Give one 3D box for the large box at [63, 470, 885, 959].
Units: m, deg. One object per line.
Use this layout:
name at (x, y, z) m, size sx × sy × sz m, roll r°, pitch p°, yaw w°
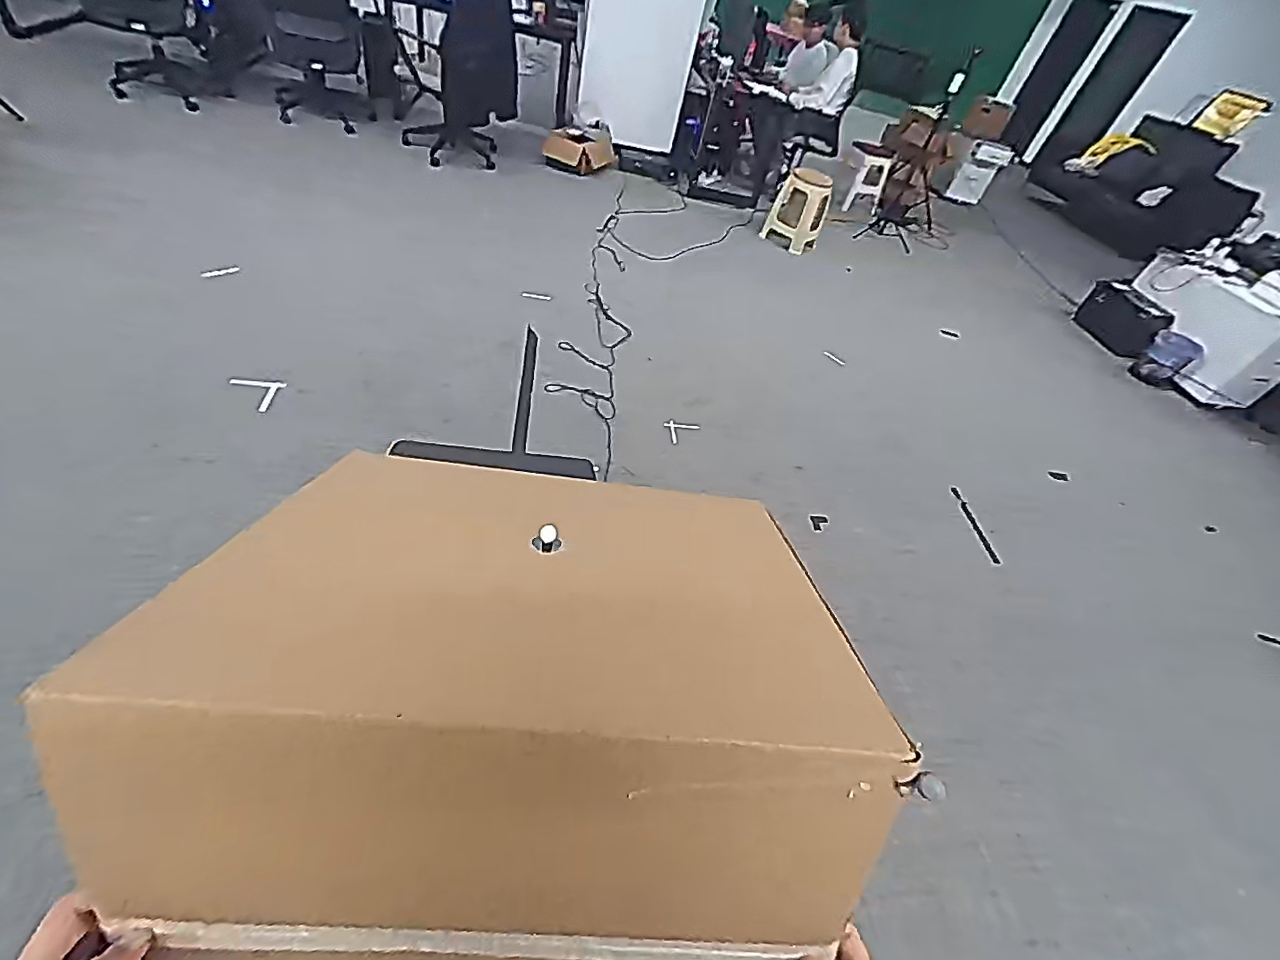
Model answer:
large box at (-0.095, 0.198, 0.454) m, size 0.408 × 0.320 × 0.320 m, roll 6°, pitch 23°, yaw -6°
